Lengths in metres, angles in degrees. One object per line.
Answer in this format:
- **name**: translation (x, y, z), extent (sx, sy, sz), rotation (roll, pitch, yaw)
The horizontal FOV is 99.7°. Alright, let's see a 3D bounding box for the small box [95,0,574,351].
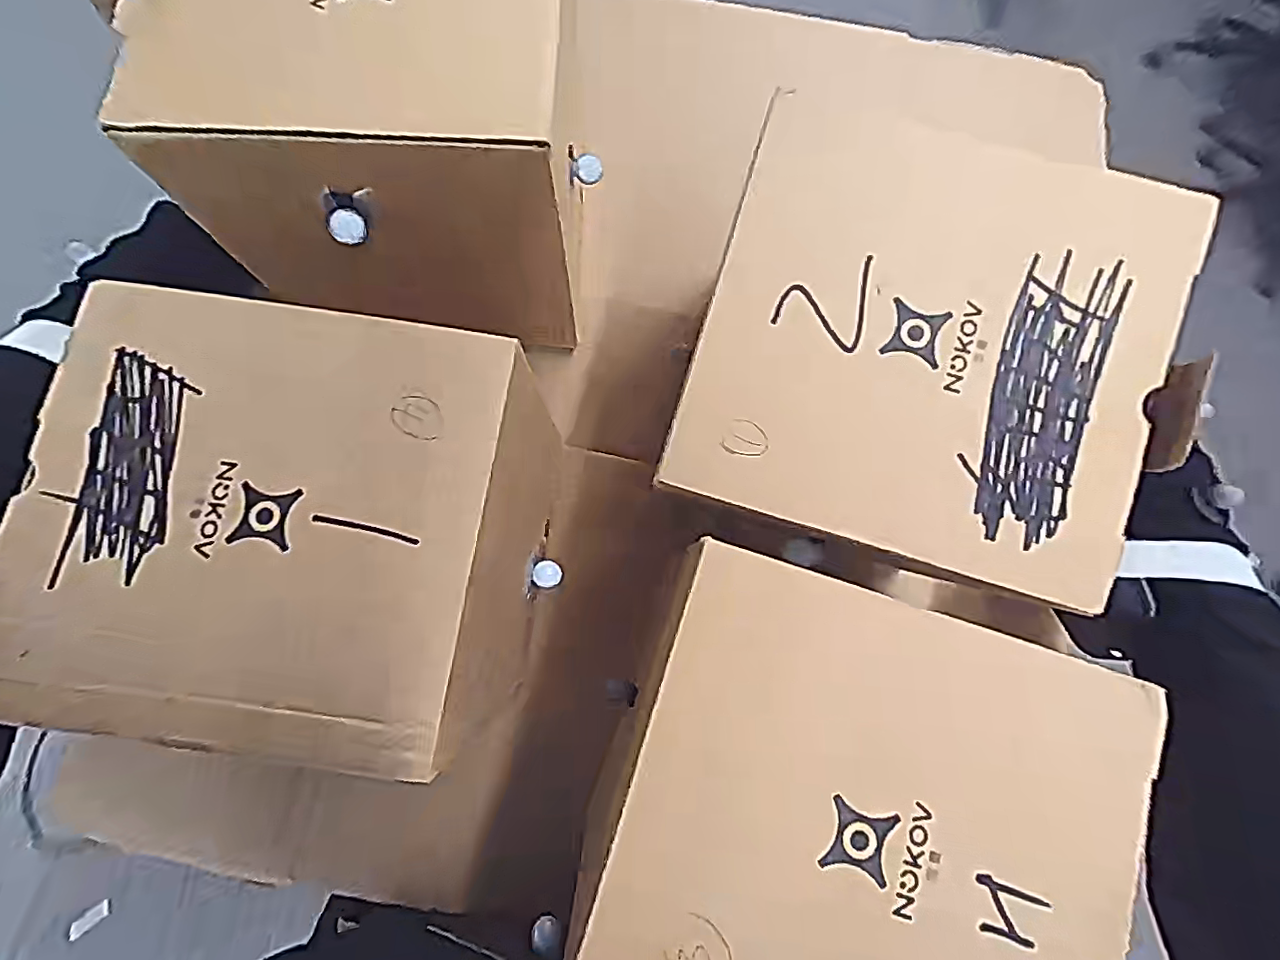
- **small box**: translation (-0.133, -0.187, 0.313), extent (0.179, 0.176, 0.168), rotation (0, 76, -1)
